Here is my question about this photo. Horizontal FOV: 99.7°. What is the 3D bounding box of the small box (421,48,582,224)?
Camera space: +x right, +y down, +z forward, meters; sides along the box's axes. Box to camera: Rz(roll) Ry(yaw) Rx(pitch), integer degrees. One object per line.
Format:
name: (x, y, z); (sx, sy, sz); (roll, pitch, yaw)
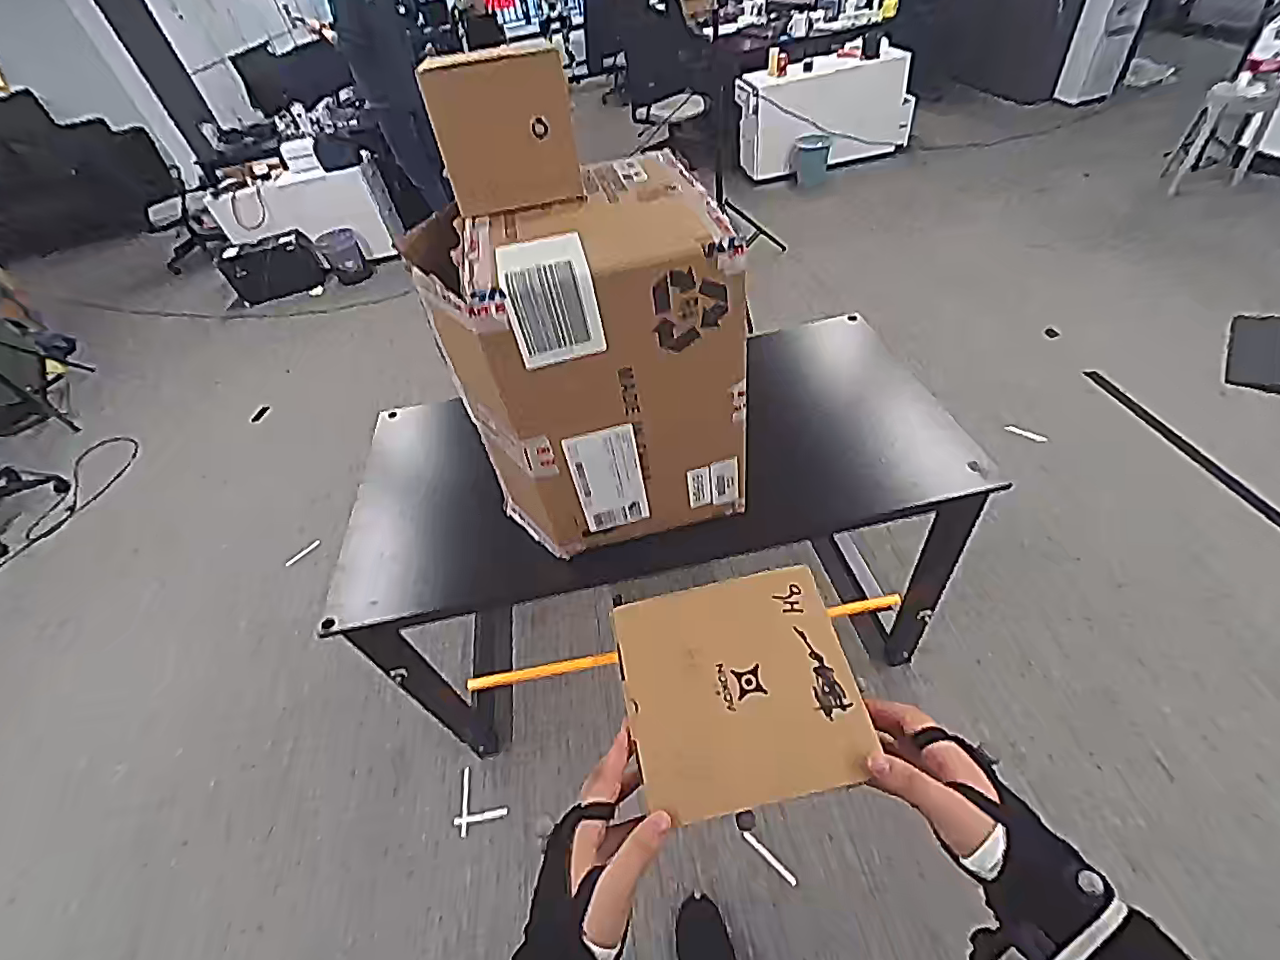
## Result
small box: (-0.183, -0.483, 0.760); (0.179, 0.176, 0.168); (-14, 42, -4)

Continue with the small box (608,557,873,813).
small box: (0.079, 0.194, 0.495); (0.179, 0.176, 0.168); (-12, 57, -1)
